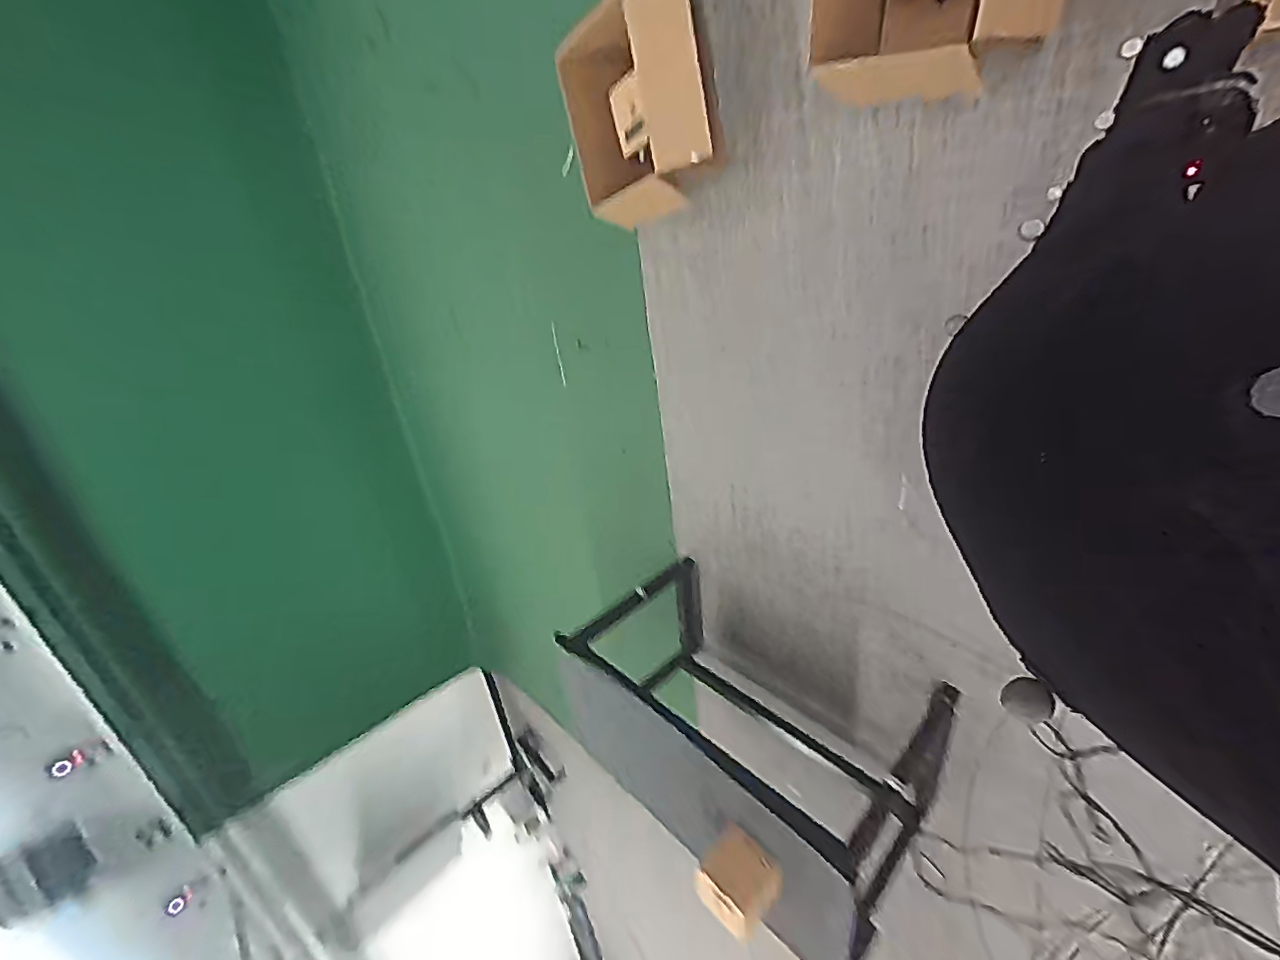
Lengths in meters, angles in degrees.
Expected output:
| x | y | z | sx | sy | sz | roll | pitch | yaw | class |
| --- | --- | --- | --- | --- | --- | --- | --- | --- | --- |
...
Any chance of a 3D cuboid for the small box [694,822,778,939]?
| x | y | z | sx | sy | sz | roll | pitch | yaw | class |
| --- | --- | --- | --- | --- | --- | --- | --- | --- | --- |
| 0.272 | 1.123 | 1.529 | 0.168 | 0.176 | 0.179 | 26 | 131 | 40 | small box |
